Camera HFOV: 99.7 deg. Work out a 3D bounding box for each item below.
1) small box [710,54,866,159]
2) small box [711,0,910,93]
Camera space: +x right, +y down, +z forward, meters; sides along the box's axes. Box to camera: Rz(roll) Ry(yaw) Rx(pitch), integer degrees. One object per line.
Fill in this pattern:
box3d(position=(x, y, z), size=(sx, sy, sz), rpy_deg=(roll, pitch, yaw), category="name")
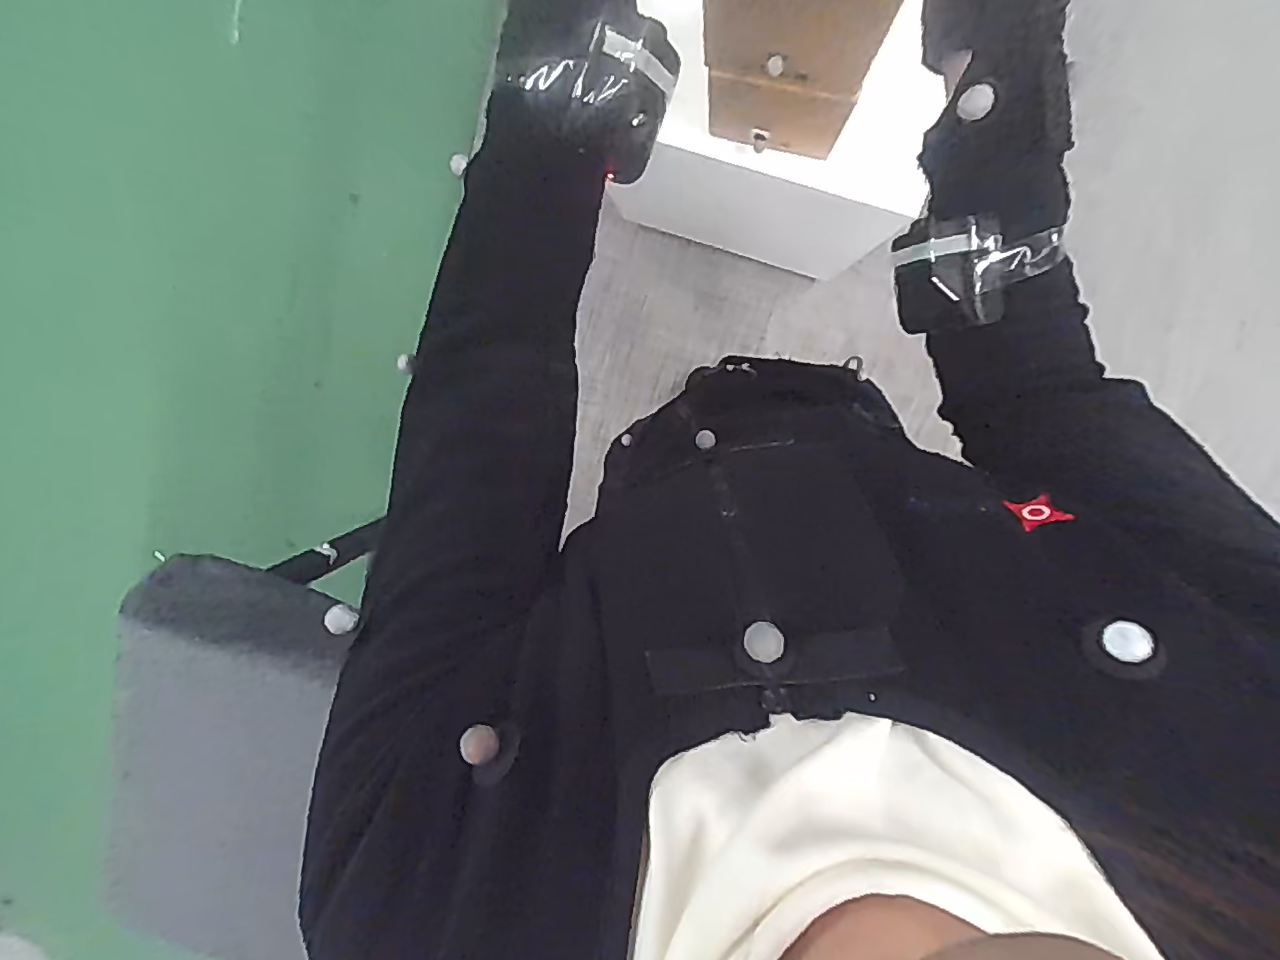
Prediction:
box3d(position=(0.182, -0.509, 0.627), size=(0.168, 0.176, 0.179), rpy_deg=(15, 104, 6), category="small box")
box3d(position=(0.156, -0.483, 0.467), size=(0.168, 0.176, 0.179), rpy_deg=(13, 101, 6), category="small box")
